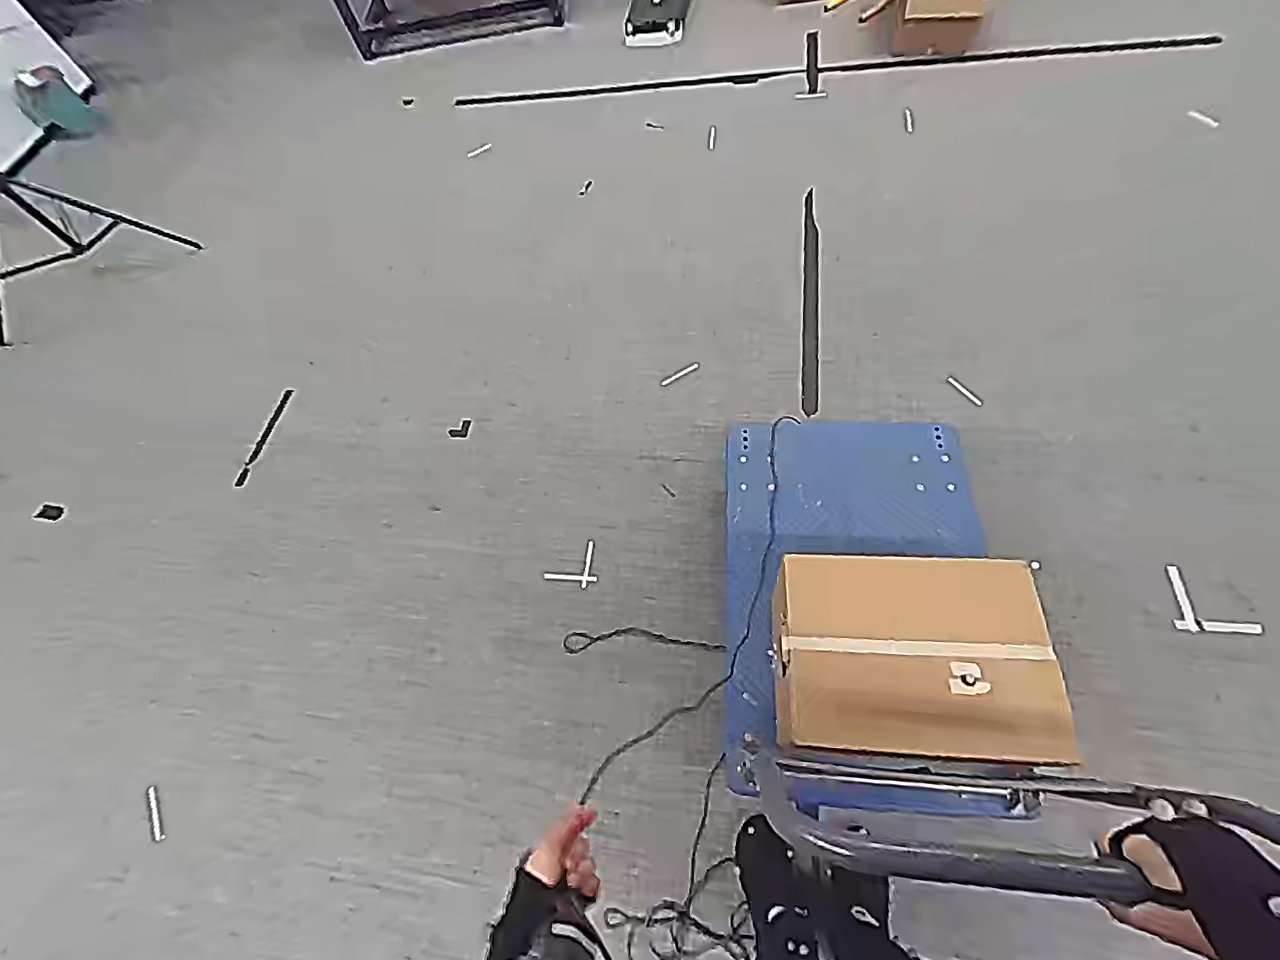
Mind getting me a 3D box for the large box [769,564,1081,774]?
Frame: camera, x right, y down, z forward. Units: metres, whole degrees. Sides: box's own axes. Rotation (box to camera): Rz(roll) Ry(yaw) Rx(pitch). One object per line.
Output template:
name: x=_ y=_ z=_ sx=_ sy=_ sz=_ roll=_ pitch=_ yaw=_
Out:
large box: x=0.462 y=0.355 z=0.996 sx=0.408 sy=0.320 sz=0.320 roll=0 pitch=63 yaw=8
